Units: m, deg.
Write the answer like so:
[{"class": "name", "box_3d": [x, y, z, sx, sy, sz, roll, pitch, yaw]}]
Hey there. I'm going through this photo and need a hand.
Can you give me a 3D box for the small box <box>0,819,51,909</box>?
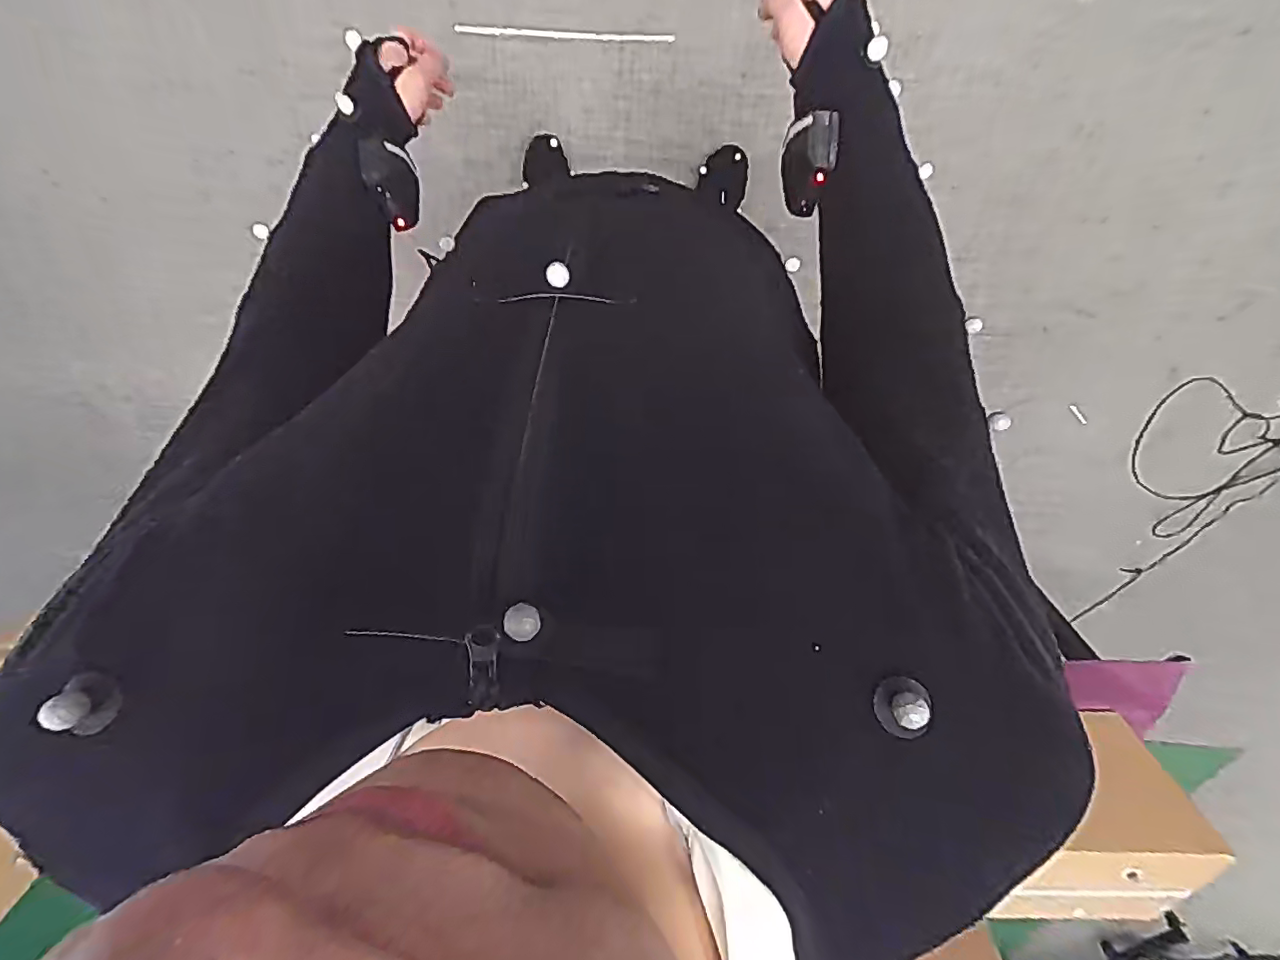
[{"class": "small box", "box_3d": [-1.483, 0.862, 1.180, 0.179, 0.176, 0.168, -1, 123, 3]}]
